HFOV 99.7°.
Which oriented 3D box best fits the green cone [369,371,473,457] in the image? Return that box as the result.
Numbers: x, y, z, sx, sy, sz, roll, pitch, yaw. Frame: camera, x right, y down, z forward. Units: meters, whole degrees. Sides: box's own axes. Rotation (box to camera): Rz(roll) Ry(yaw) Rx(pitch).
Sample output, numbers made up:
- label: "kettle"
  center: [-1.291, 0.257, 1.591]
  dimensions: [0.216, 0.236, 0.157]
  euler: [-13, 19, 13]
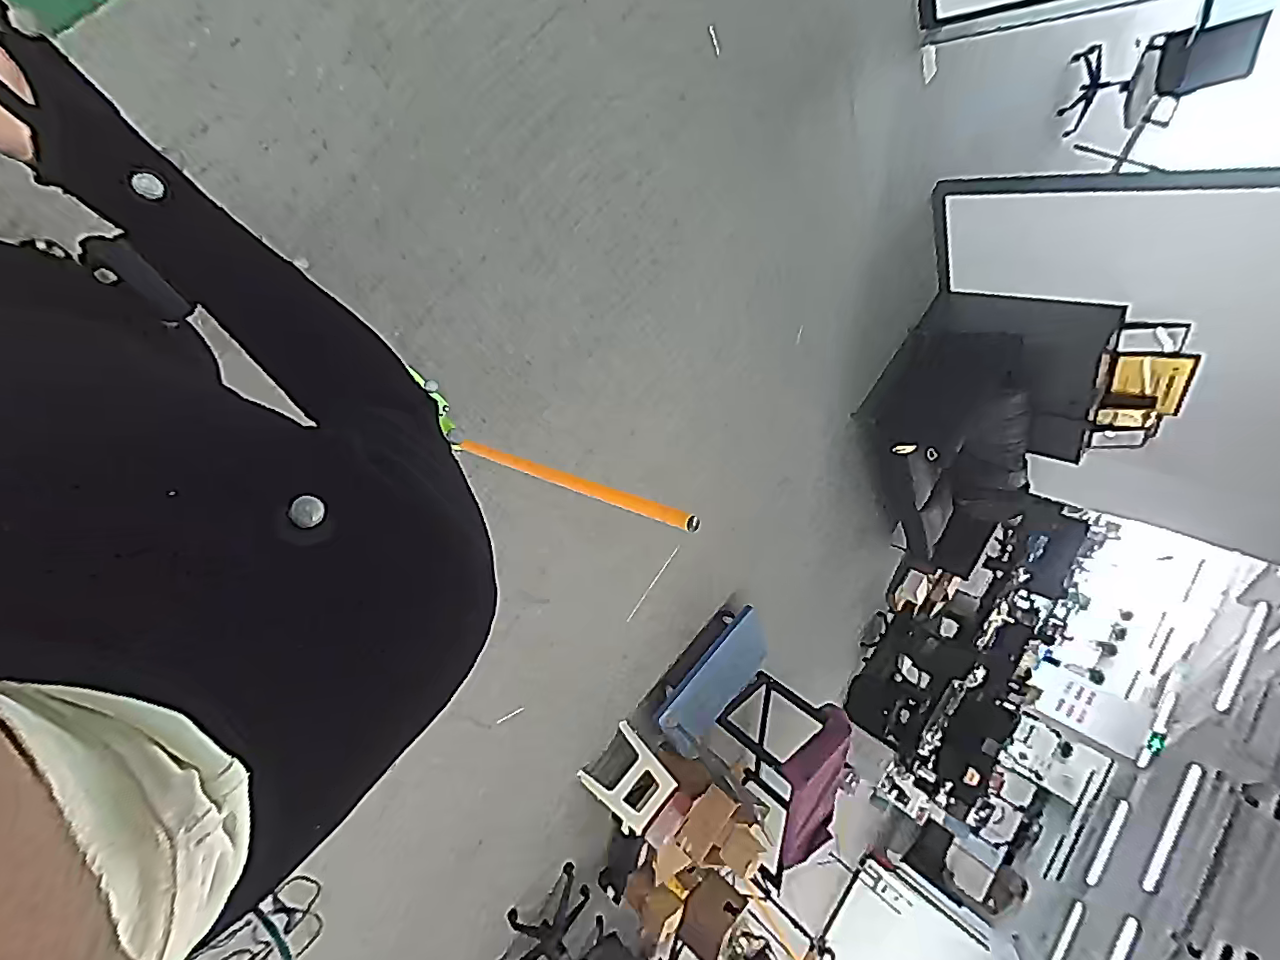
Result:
- label: "green cone"
  center: [-0.560, -0.141, 1.496]
  dimensions: [0.202, 0.368, 0.200]
  euler: [-52, 136, -12]
